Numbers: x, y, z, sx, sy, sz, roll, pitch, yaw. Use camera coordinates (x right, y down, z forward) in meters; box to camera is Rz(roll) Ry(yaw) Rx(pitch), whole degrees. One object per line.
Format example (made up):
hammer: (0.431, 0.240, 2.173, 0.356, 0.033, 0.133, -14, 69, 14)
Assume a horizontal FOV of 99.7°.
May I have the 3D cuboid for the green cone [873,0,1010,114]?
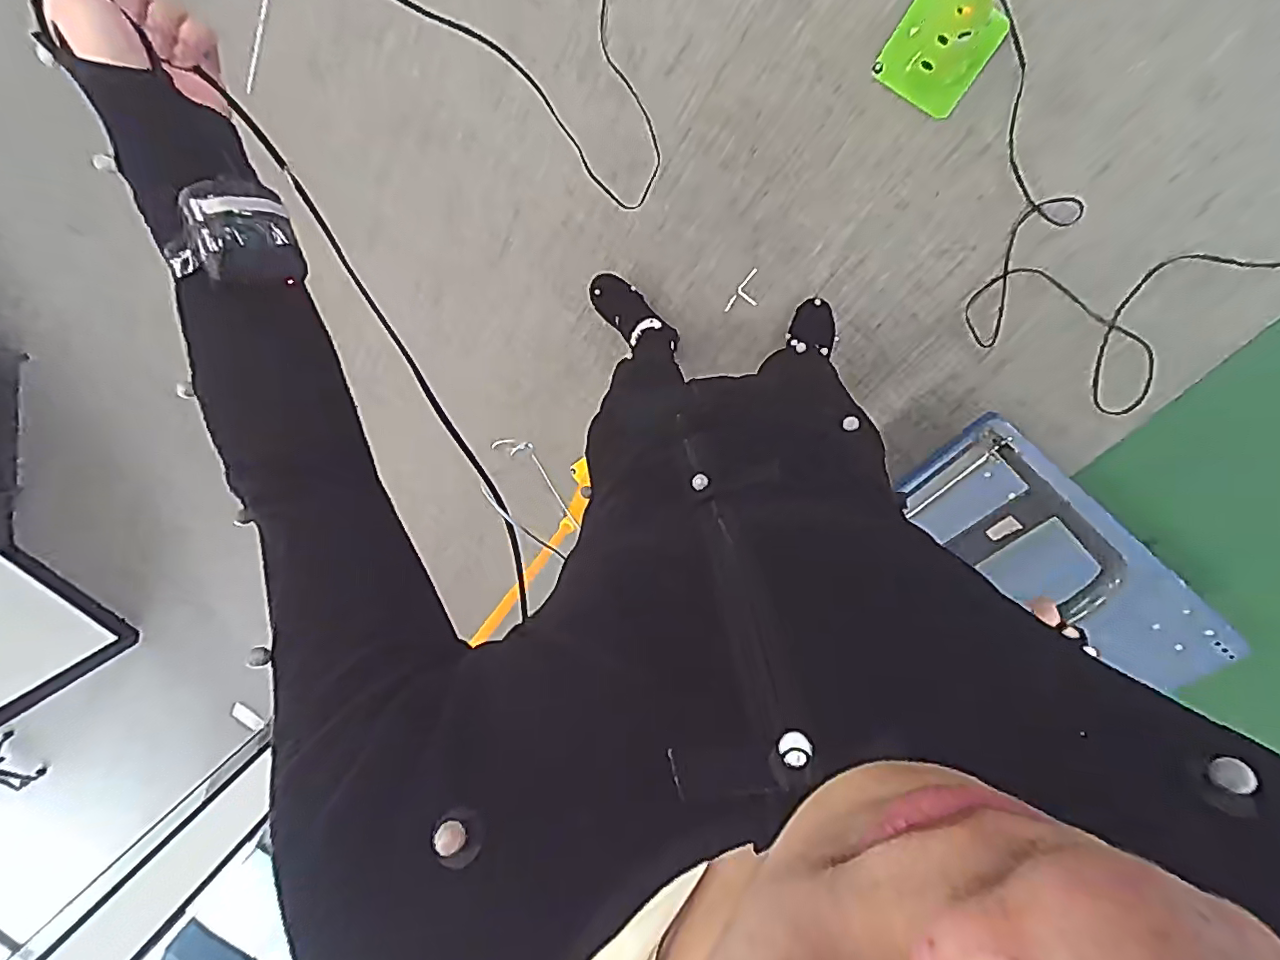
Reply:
green cone: (0.588, -0.857, 0.989, 0.200, 0.368, 0.202, 33, 116, 1)
